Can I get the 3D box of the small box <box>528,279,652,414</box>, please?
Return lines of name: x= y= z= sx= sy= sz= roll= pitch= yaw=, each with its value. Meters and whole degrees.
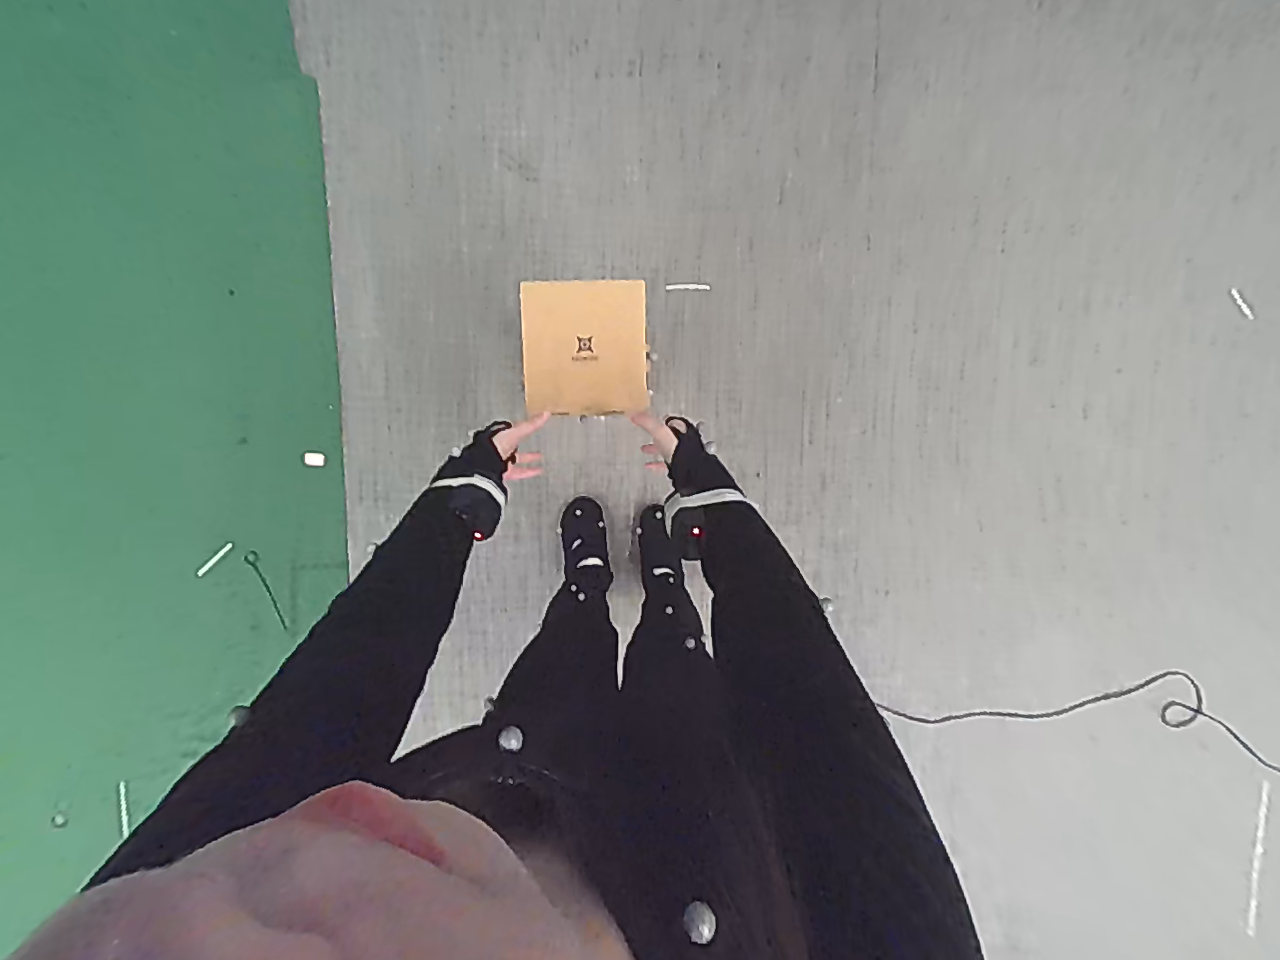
small box: x=-0.069 y=-0.188 z=0.802 sx=0.168 sy=0.176 sz=0.179 roll=-1 pitch=98 yaw=0
